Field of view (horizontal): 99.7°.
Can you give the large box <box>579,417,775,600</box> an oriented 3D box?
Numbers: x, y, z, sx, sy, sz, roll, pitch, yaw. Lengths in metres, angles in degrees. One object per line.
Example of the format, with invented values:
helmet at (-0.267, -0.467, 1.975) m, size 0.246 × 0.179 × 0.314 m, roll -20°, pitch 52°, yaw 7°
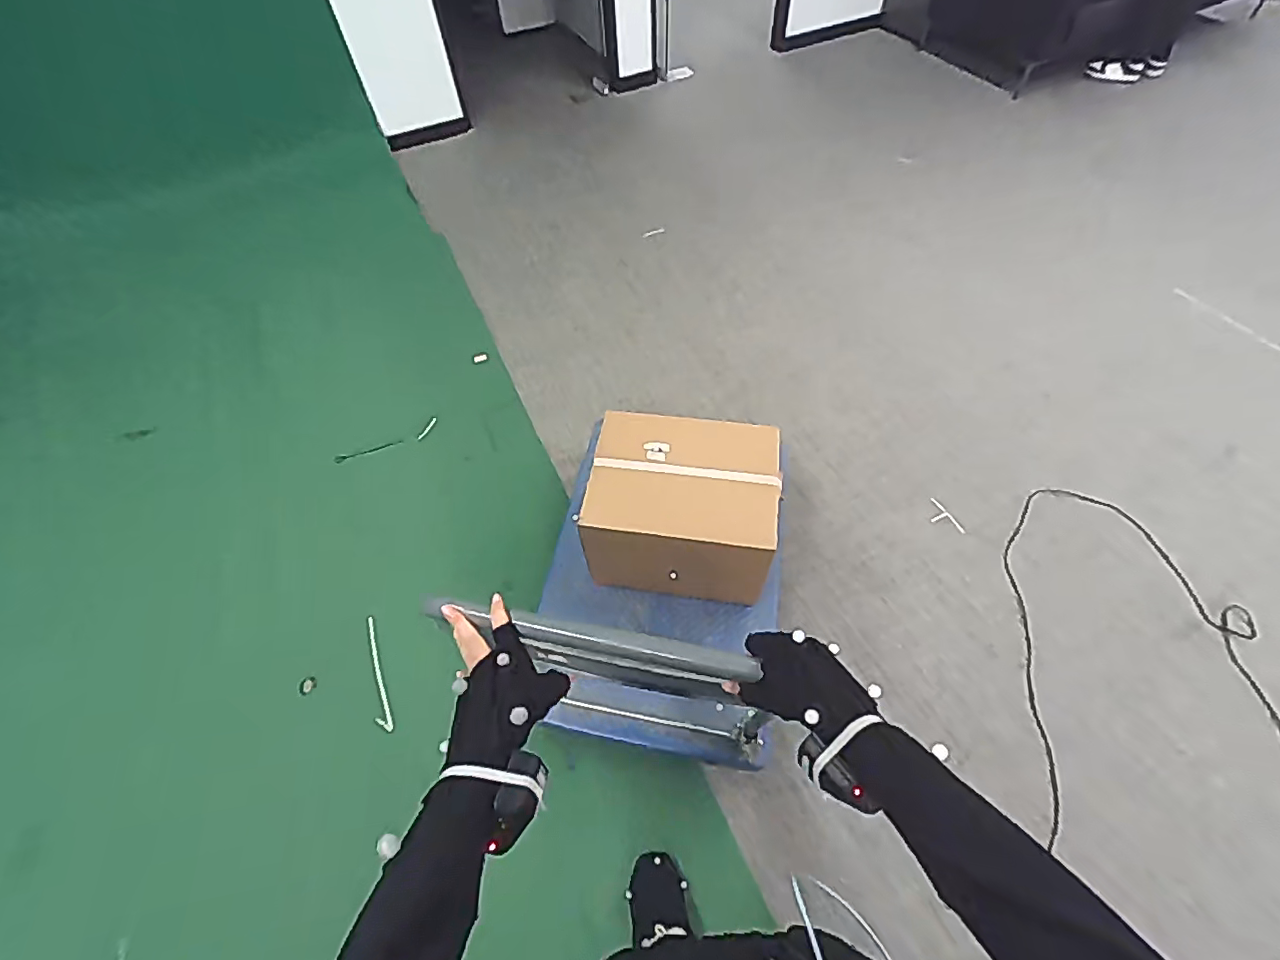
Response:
large box at (0.100, 0.075, 1.301) m, size 0.408 × 0.320 × 0.320 m, roll 6°, pitch 56°, yaw 8°
